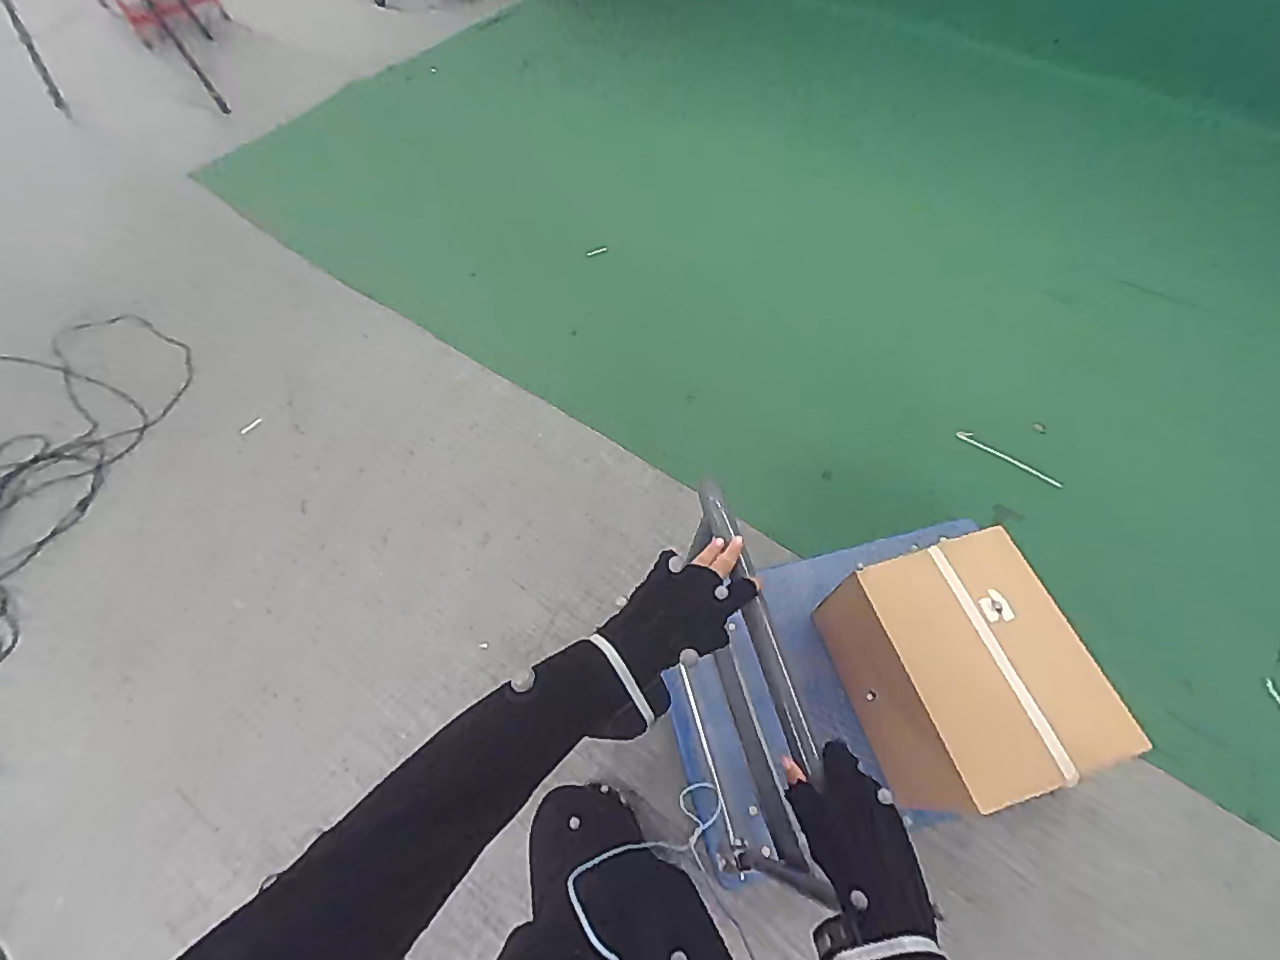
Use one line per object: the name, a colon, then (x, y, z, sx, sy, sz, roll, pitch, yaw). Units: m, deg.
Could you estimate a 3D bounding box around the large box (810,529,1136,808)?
large box: (0.592, 0.370, 1.062, 0.320, 0.320, 0.408, -14, 61, -9)
